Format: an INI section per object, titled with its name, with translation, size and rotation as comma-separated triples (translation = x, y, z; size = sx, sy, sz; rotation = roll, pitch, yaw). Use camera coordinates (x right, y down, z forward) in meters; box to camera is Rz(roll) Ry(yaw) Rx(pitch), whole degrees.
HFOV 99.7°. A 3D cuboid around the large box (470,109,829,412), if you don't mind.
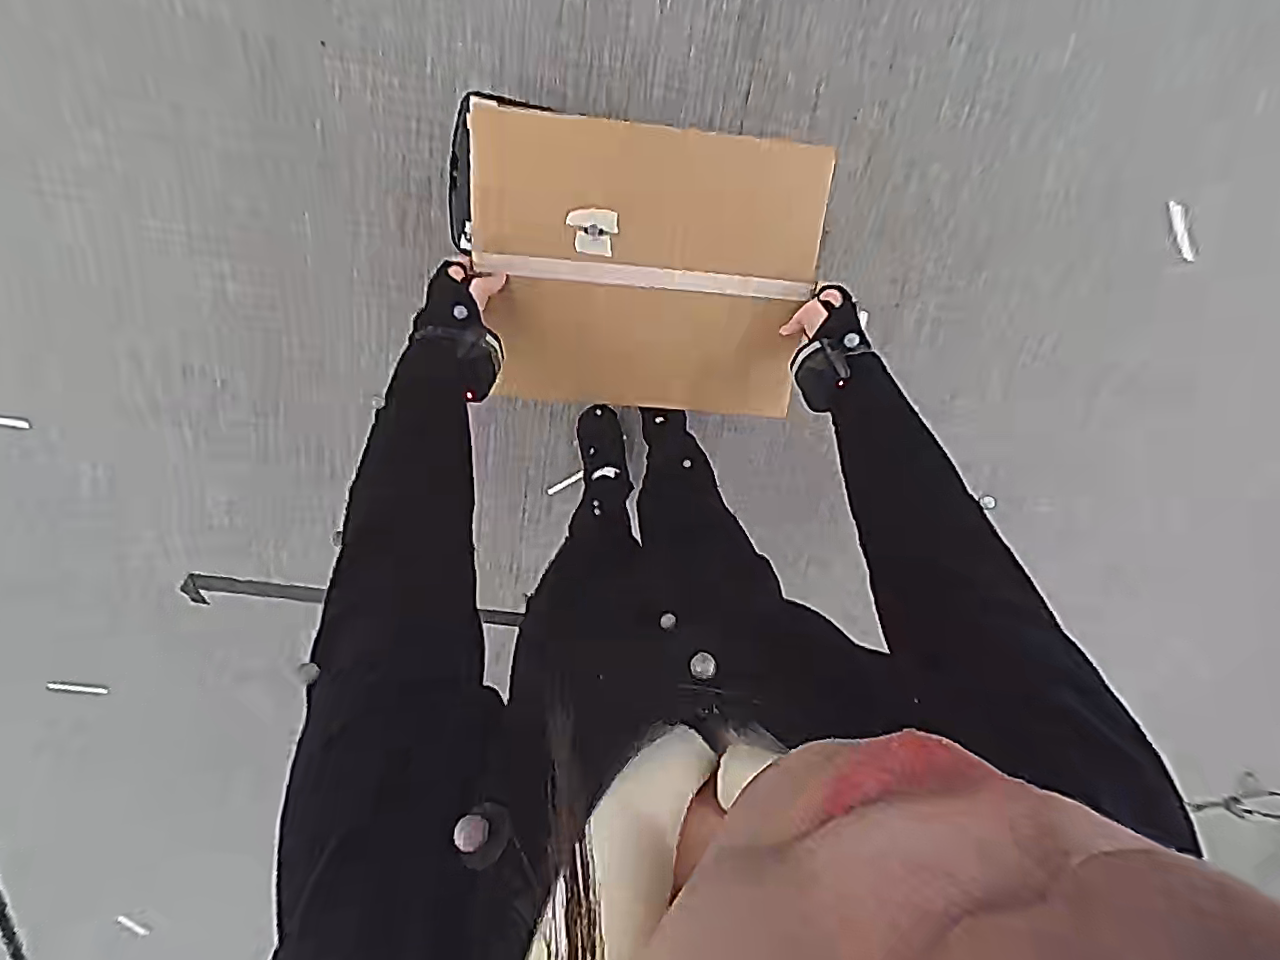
[large box]
translation = -0.001, -0.296, 0.779
size = 0.408, 0.320, 0.320
rotation = 4, 110, -4
